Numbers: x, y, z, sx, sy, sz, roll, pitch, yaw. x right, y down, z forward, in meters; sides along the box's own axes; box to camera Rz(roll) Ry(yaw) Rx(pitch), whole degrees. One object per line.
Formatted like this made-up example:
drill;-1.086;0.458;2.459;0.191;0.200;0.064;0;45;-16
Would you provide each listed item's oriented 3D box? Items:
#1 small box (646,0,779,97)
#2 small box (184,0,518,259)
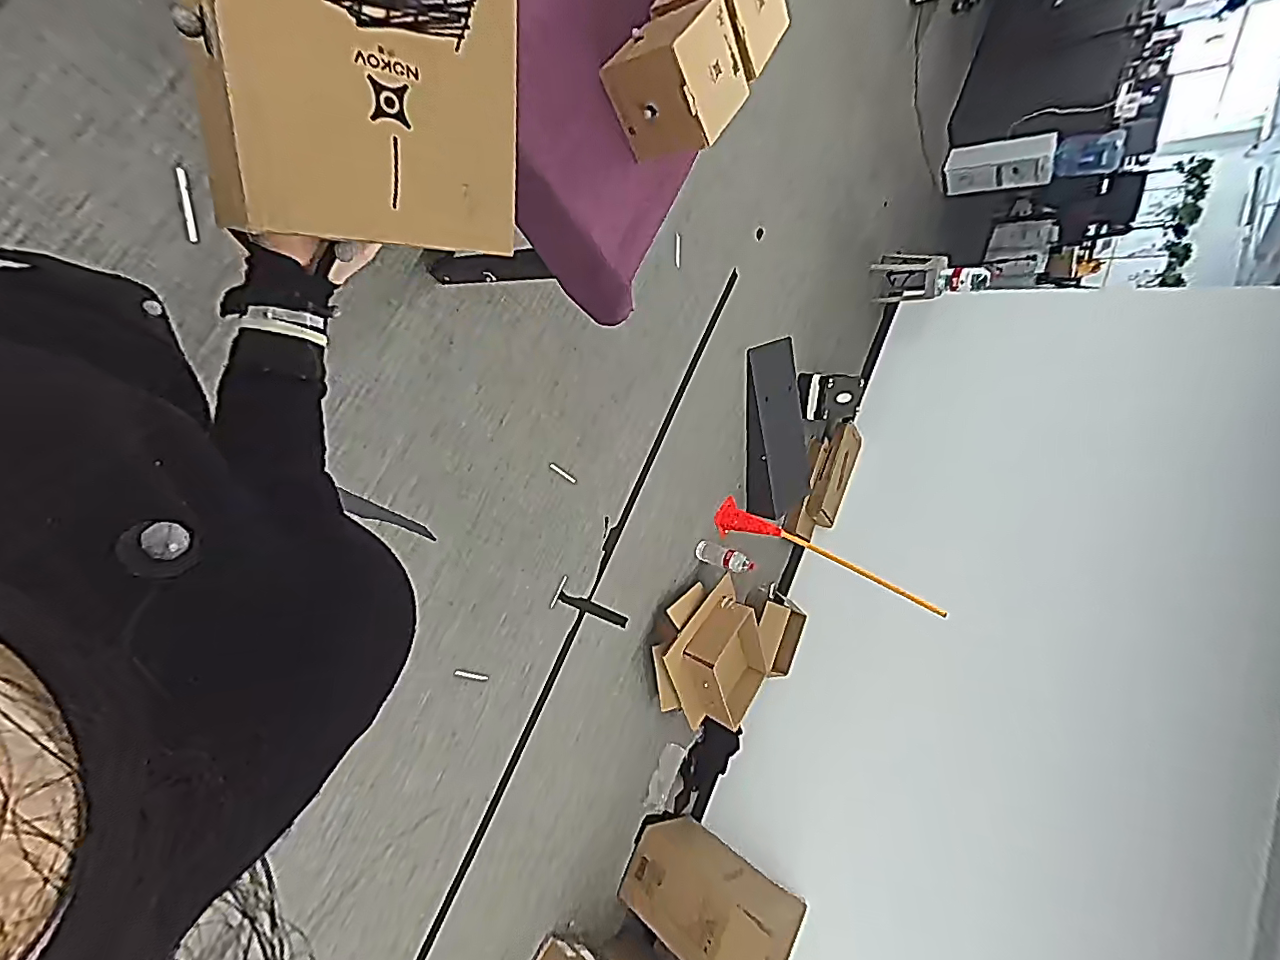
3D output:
small box;0.139;-0.877;1.028;0.168;0.176;0.179;46;66;-48
small box;-0.202;-0.262;0.385;0.168;0.176;0.179;-13;119;-39
